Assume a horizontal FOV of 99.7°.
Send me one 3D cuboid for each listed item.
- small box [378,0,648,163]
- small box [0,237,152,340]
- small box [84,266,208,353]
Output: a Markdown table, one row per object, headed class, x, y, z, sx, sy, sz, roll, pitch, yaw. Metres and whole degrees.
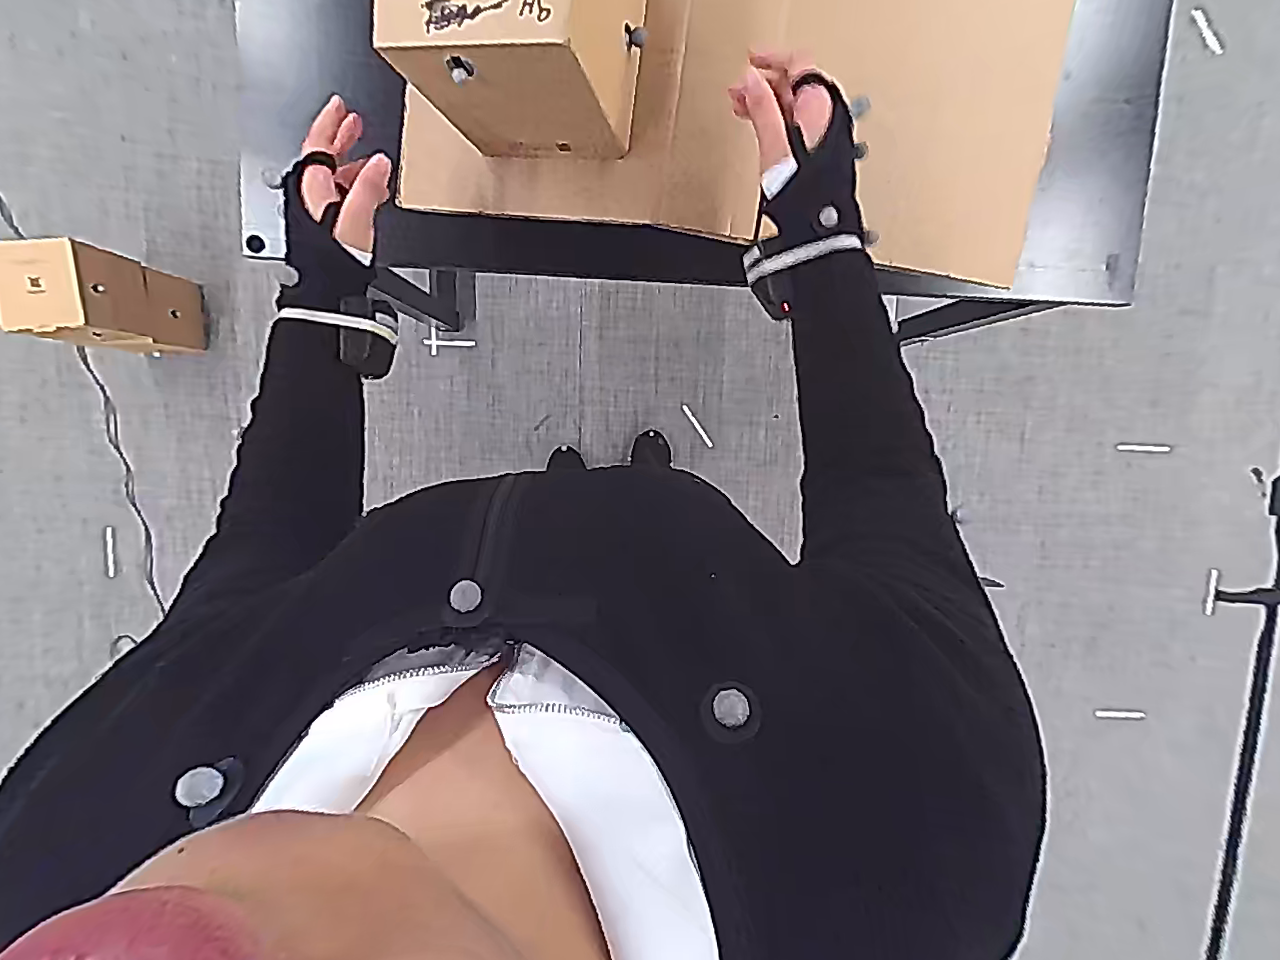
| class | x | y | z | sx | sy | sz | roll | pitch | yaw |
| --- | --- | --- | --- | --- | --- | --- | --- | --- | --- |
| small box | -0.095 | -0.414 | 0.475 | 0.168 | 0.176 | 0.179 | 9 | 95 | 13 |
| small box | -1.203 | -0.400 | 1.160 | 0.168 | 0.176 | 0.179 | -5 | 95 | -3 |
| small box | -1.207 | -0.411 | 1.322 | 0.168 | 0.176 | 0.179 | -1 | 97 | -2 |
